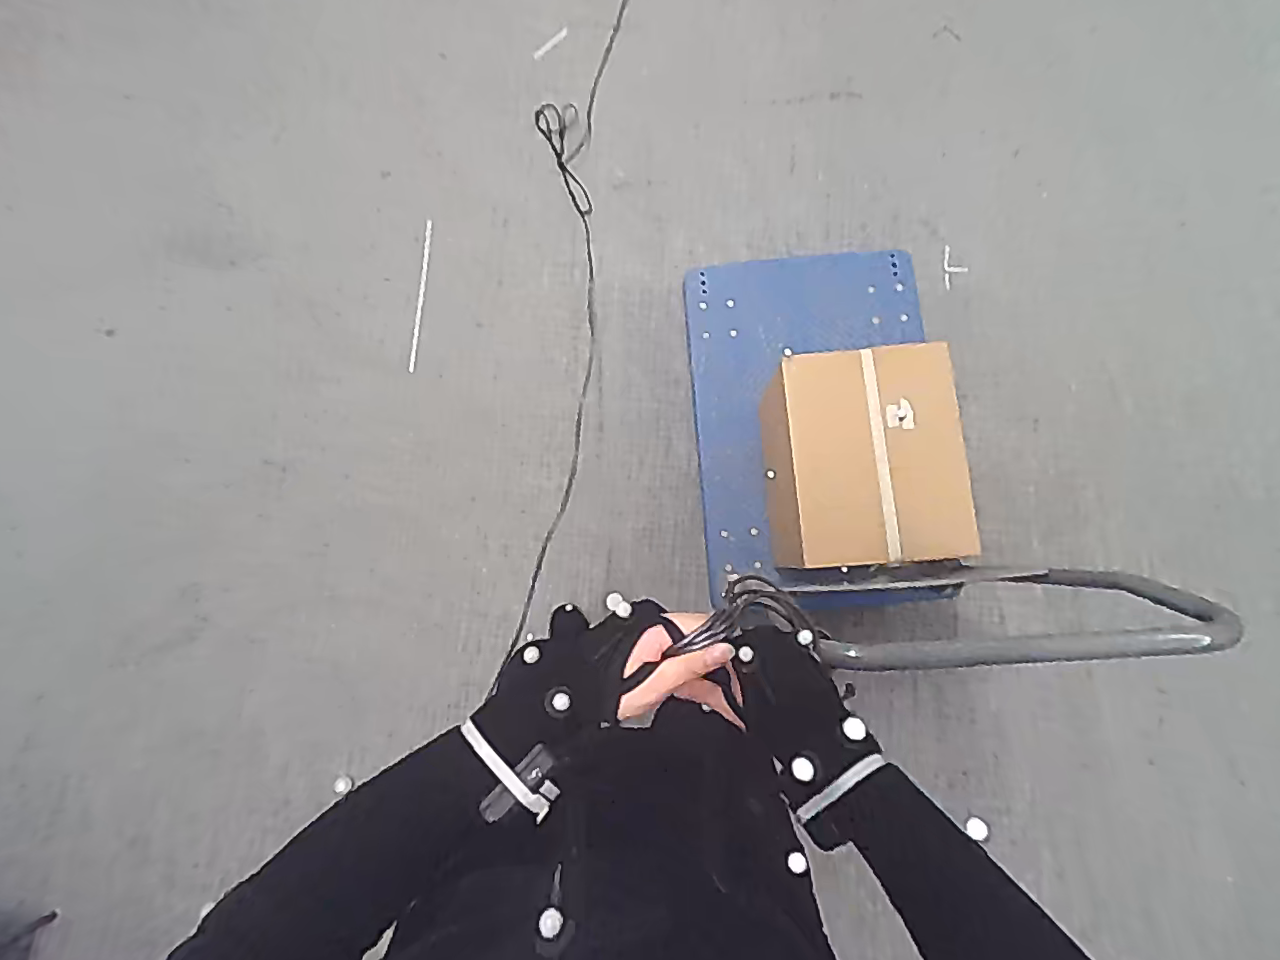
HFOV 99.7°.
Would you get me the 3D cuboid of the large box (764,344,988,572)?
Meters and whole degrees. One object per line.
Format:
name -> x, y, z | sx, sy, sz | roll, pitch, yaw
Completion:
large box -> 0.453, -0.021, 1.129 | 0.320, 0.320, 0.408 | -4, 80, 3
